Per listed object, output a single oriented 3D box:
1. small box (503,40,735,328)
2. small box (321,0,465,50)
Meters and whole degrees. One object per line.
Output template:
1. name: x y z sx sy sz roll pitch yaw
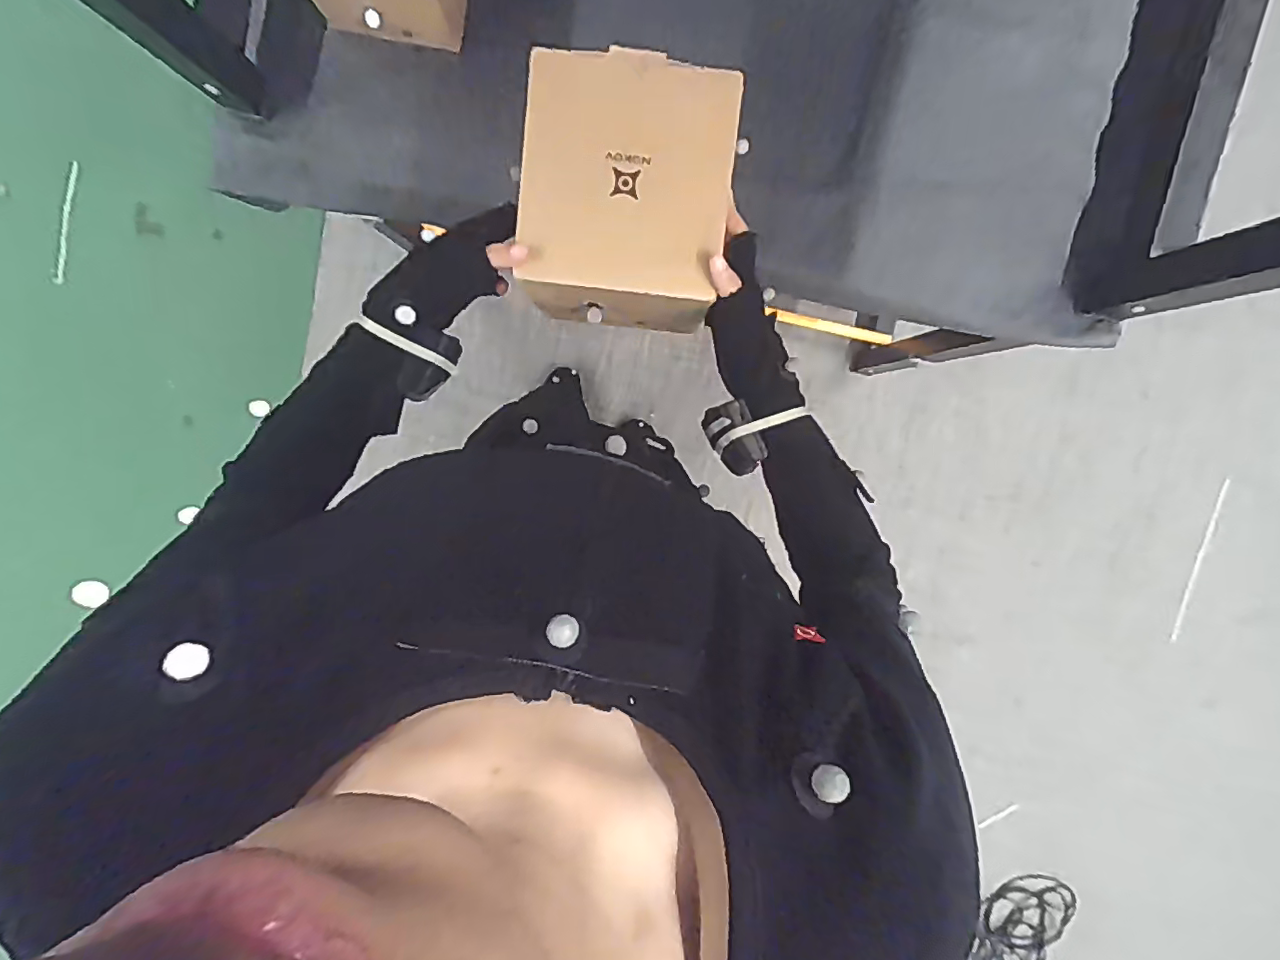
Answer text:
1. small box: -0.017 -0.245 0.496 0.168 0.176 0.179 6 95 -1
2. small box: -0.293 -0.631 0.592 0.168 0.176 0.179 10 97 -1
